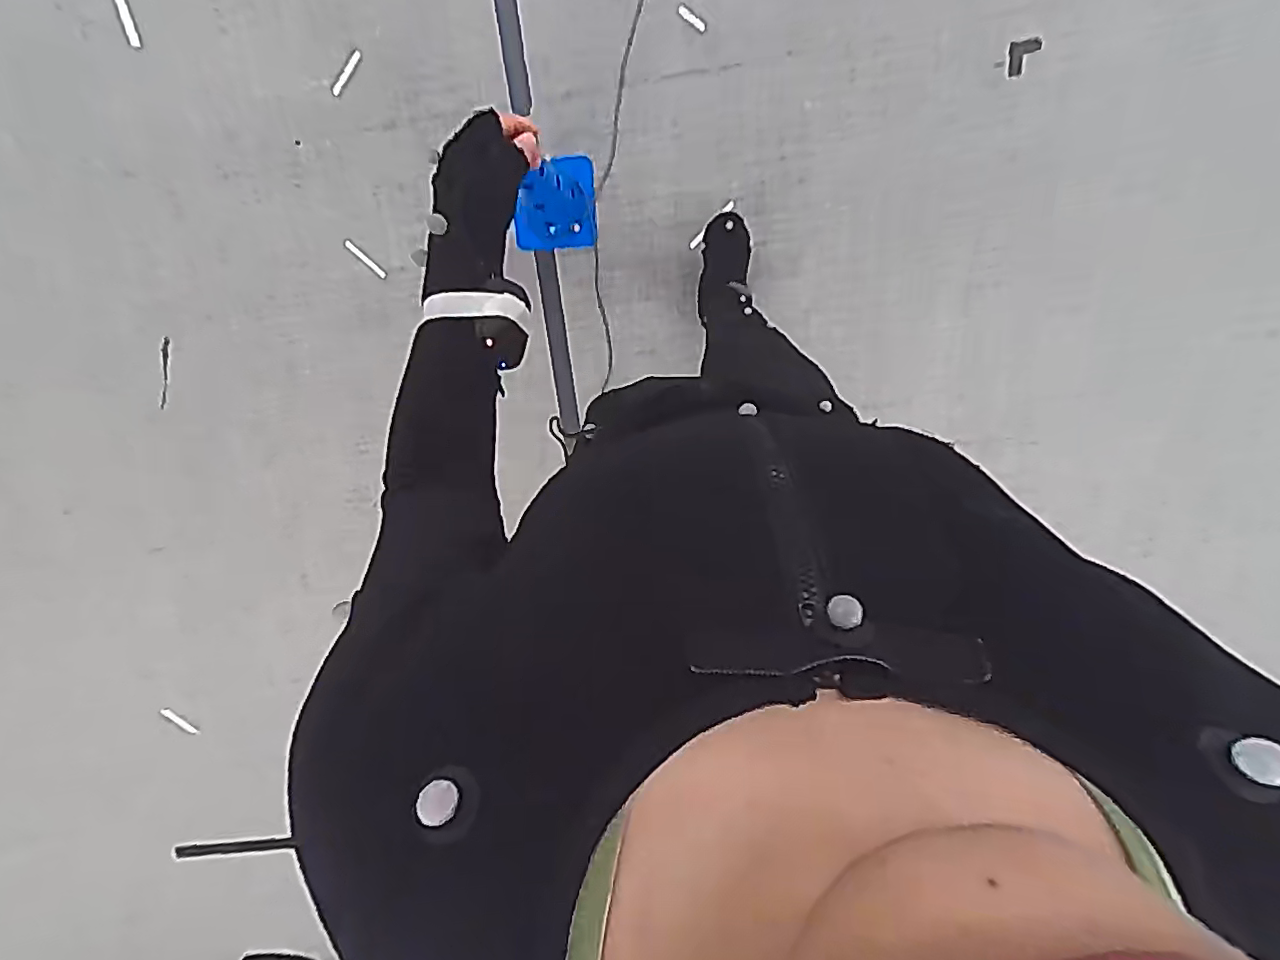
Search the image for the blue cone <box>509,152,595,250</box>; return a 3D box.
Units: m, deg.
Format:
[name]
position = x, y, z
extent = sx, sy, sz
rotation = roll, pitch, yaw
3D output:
[blue cone]
position = -0.210, -0.608, 1.115
extent = 0.193, 0.380, 0.192
rotation = -4, 105, 2
